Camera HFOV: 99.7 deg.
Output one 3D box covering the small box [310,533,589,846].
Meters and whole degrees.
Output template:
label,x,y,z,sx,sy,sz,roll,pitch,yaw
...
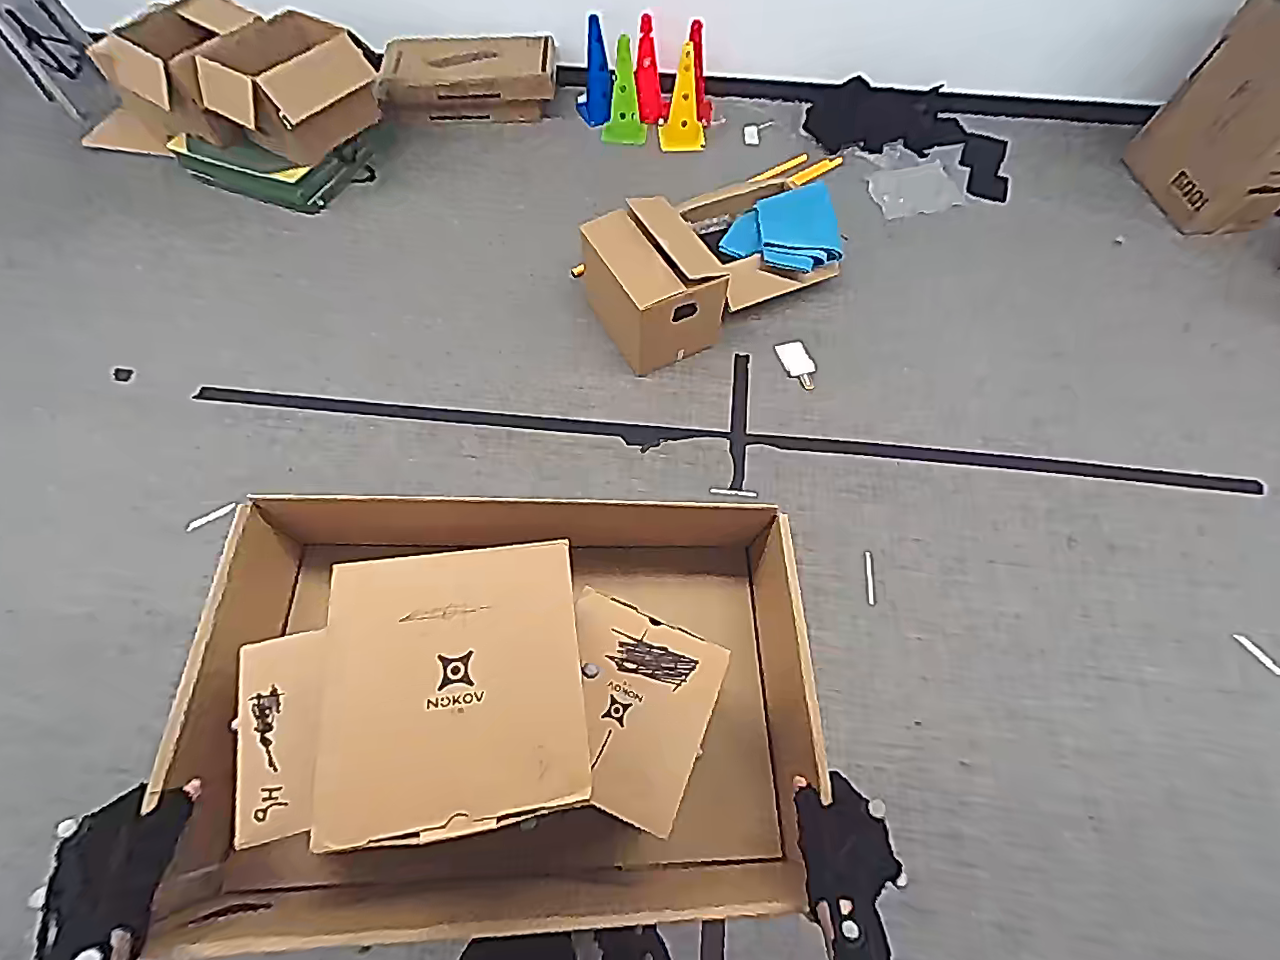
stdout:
label,x,y,z,sx,sy,sz,roll,pitch,yaw
small box,-0.132,0.159,0.427,0.168,0.176,0.179,-5,64,-11
